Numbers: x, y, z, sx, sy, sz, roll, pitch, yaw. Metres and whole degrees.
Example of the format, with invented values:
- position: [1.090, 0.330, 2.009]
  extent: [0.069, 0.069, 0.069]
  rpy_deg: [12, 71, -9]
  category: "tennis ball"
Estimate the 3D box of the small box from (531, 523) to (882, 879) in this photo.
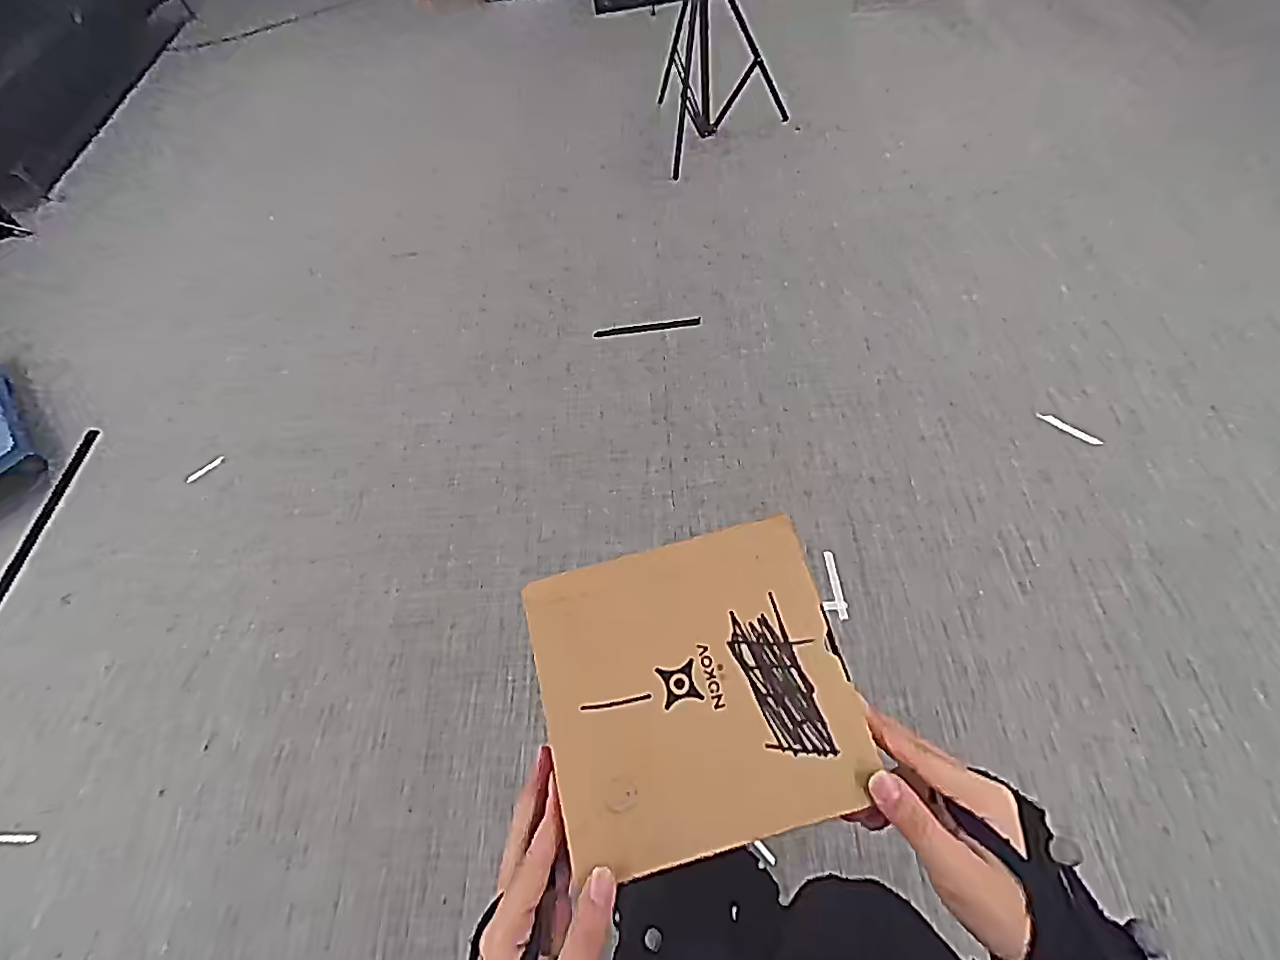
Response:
- position: [0.035, 0.148, 0.394]
  extent: [0.179, 0.176, 0.168]
  rpy_deg: [-14, 68, -3]
  category: "small box"
